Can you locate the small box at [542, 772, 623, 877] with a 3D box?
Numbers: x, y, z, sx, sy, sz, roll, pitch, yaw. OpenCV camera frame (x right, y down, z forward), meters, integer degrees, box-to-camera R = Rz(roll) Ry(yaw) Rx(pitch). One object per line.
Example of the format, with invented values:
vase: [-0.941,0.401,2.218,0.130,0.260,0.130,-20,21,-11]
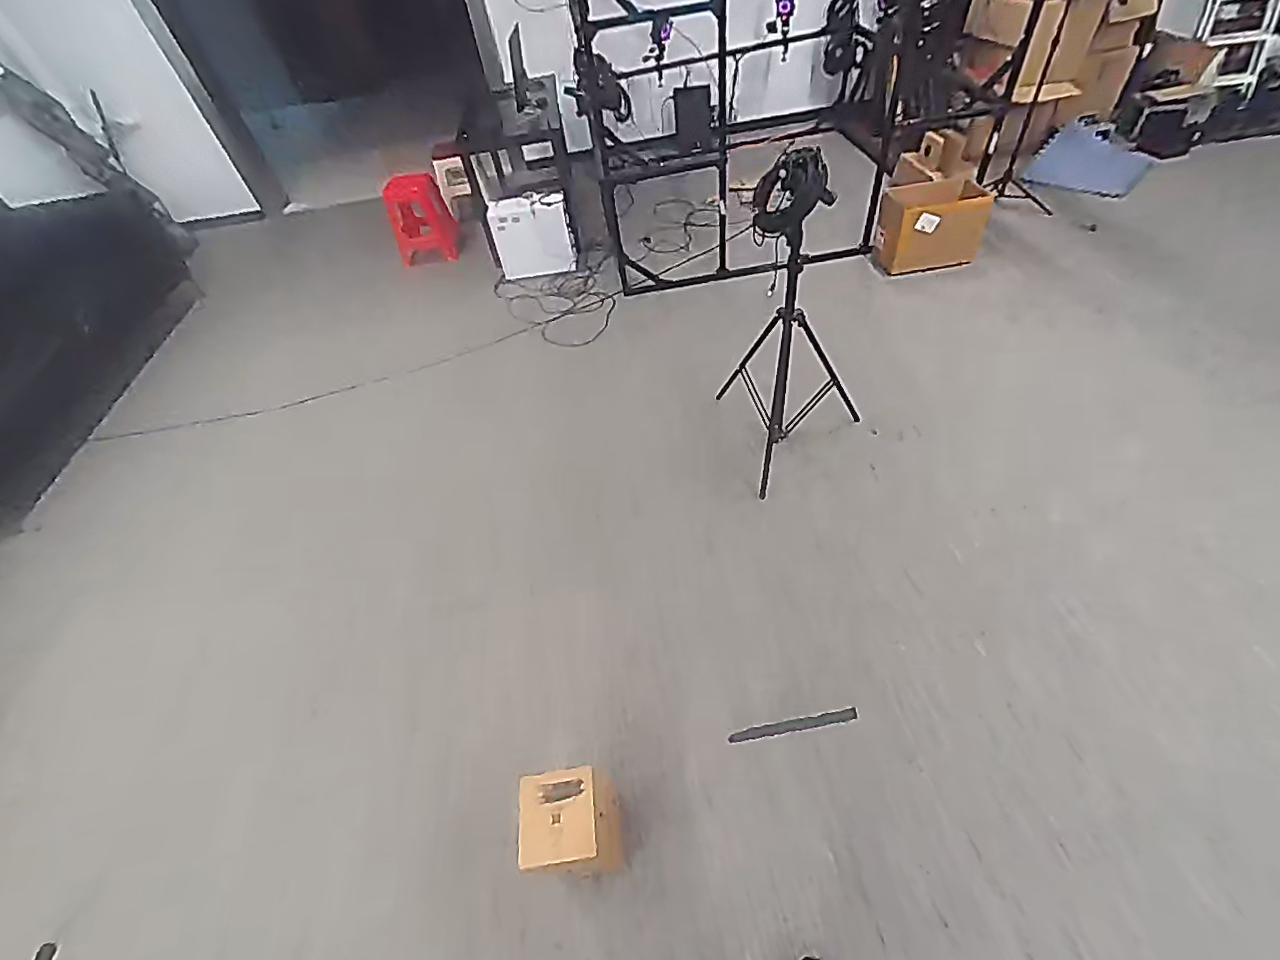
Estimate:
small box: [-0.143,0.857,1.342,0.168,0.176,0.179,-12,47,-1]
